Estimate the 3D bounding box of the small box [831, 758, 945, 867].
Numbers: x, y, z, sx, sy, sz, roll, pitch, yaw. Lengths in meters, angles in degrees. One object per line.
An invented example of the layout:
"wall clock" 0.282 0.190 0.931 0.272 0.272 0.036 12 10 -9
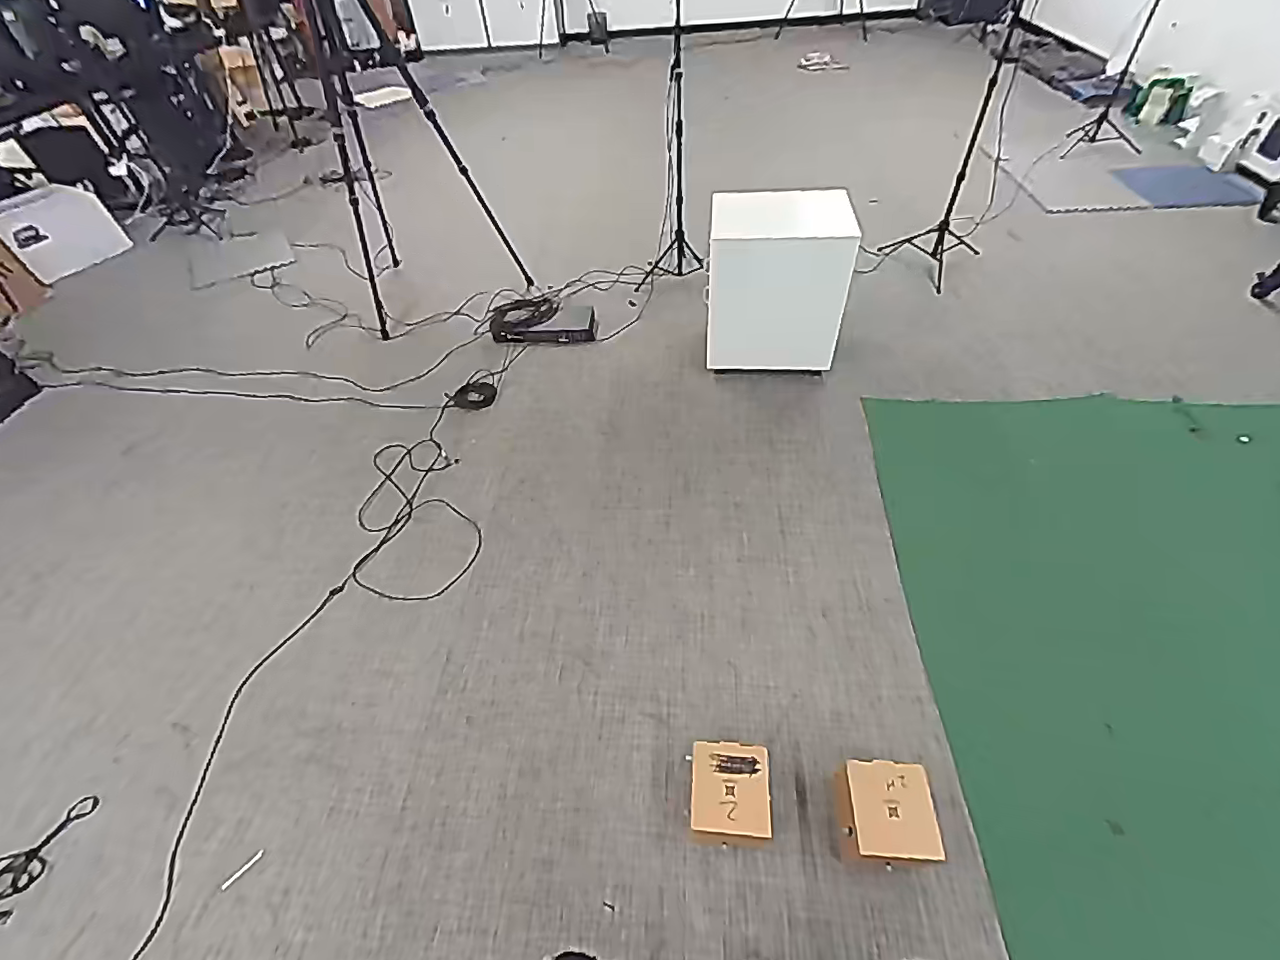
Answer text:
"small box" 0.525 0.723 1.173 0.168 0.176 0.179 1 49 5
